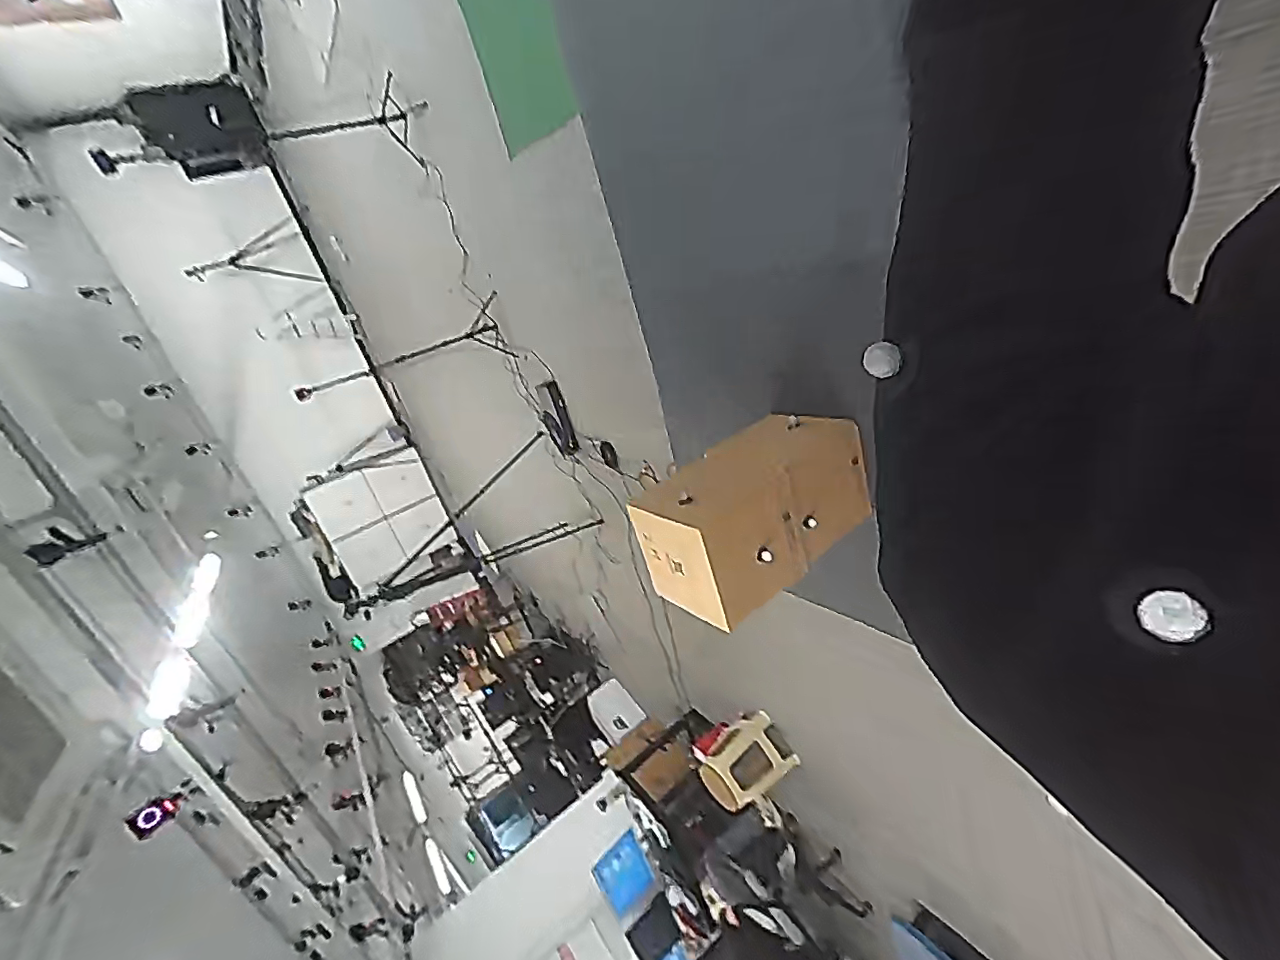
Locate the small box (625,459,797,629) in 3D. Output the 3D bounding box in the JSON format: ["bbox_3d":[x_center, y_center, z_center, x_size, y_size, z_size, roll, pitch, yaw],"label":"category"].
[{"bbox_3d":[0.111,0.080,0.796,0.179,0.176,0.168,16,129,55],"label":"small box"}]

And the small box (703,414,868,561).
[{"bbox_3d":[0.234,0.001,0.873,0.179,0.176,0.168,15,129,56],"label":"small box"}]
